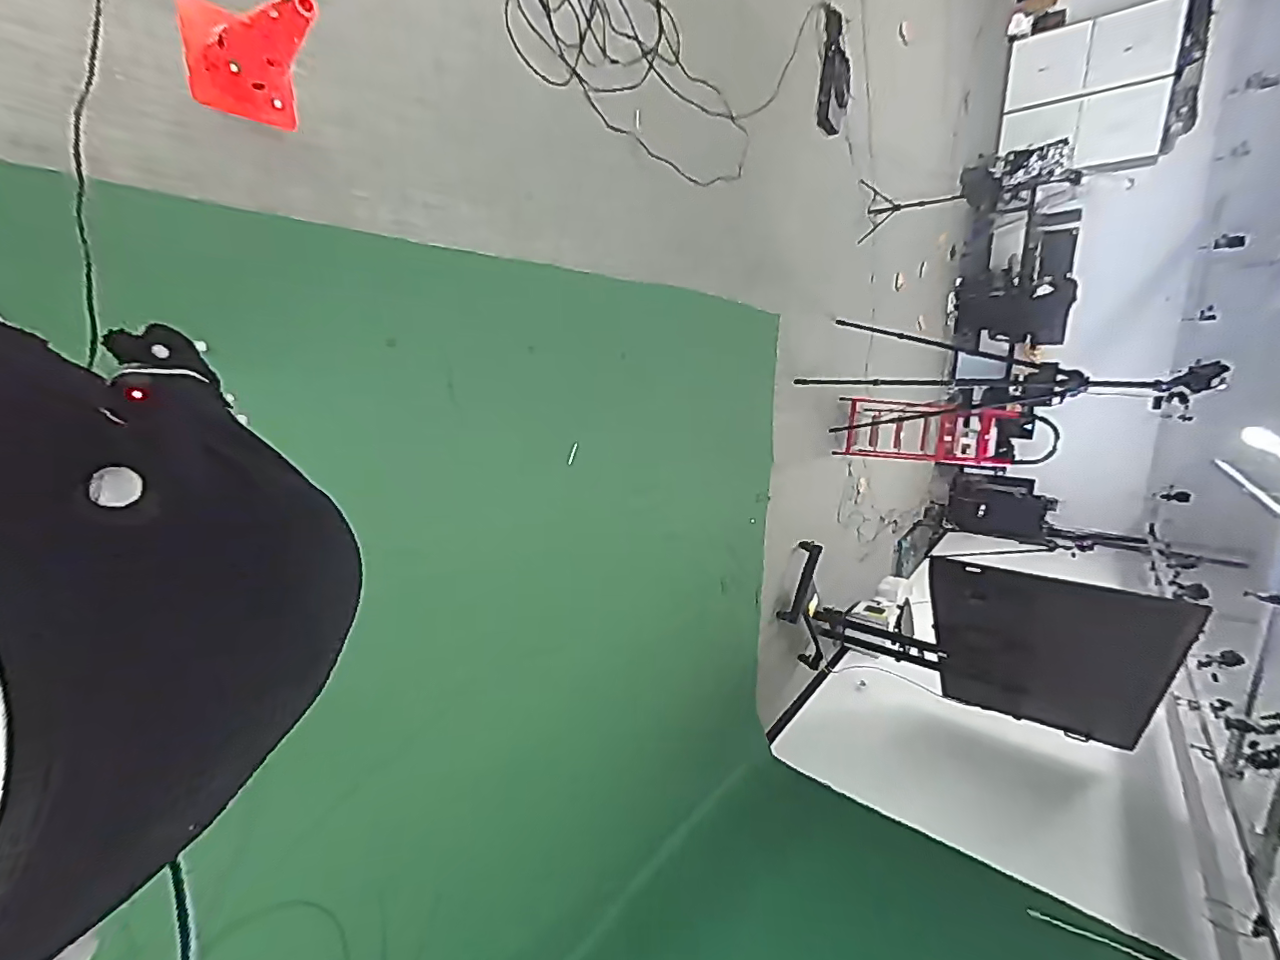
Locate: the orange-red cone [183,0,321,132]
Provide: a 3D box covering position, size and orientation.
[{"bbox_3d":[-0.730,-0.873,1.074,0.198,0.360,0.199,-14,108,-50],"label":"orange-red cone"}]
